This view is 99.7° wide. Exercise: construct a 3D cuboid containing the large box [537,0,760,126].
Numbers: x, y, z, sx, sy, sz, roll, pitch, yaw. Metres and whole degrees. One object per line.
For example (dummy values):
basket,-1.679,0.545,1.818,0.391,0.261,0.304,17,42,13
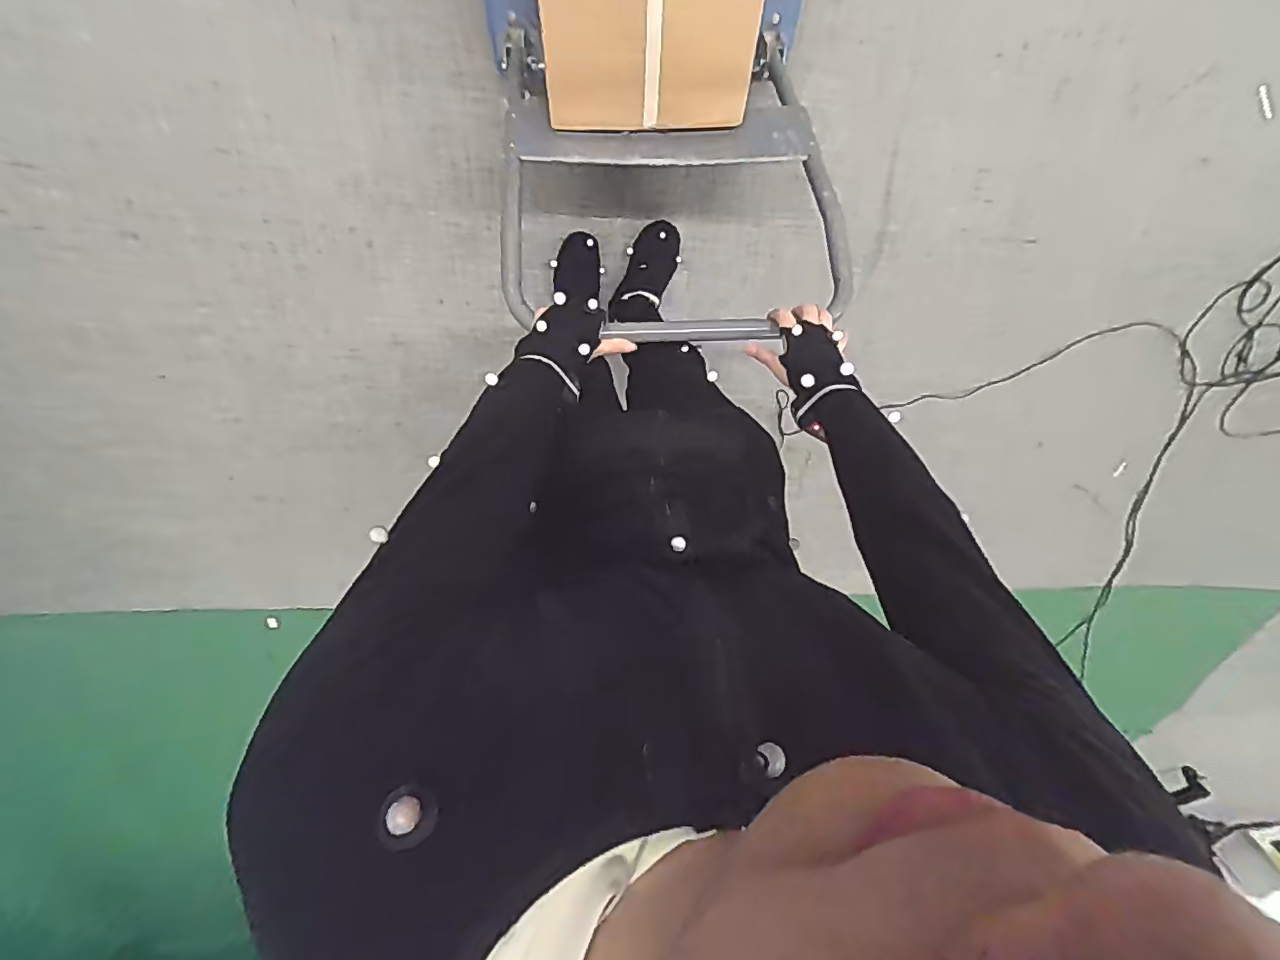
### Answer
large box,0.003,-0.808,0.791,0.320,0.320,0.408,-4,148,-5
